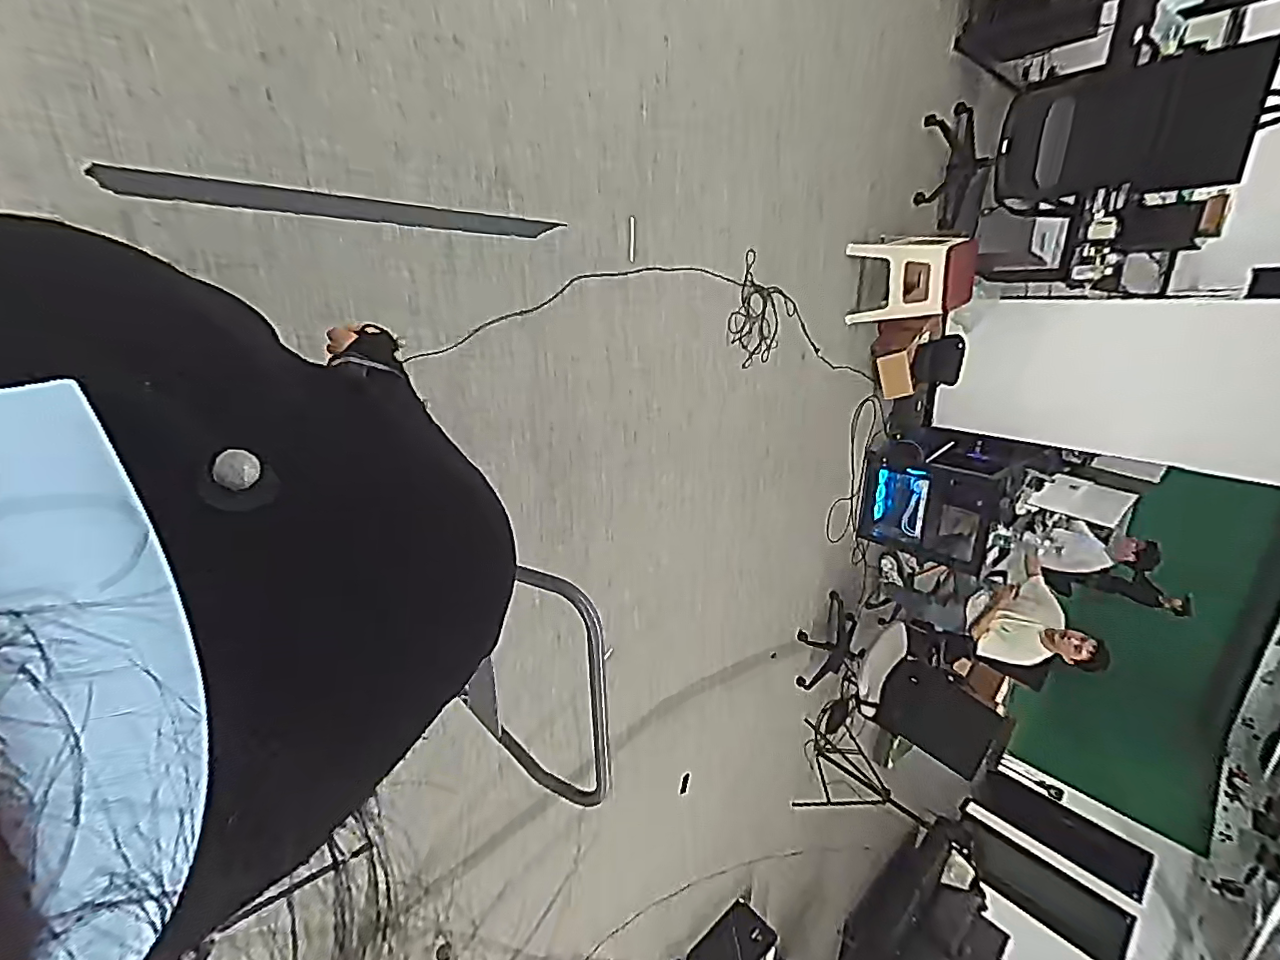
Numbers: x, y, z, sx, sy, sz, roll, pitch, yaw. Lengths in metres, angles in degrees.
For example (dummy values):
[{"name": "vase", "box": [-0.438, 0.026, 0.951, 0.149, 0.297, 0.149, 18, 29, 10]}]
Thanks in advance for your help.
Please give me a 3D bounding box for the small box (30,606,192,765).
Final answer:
[{"name": "small box", "box": [-0.947, 0.361, 0.983, 0.168, 0.176, 0.179, -20, 116, -38]}]
